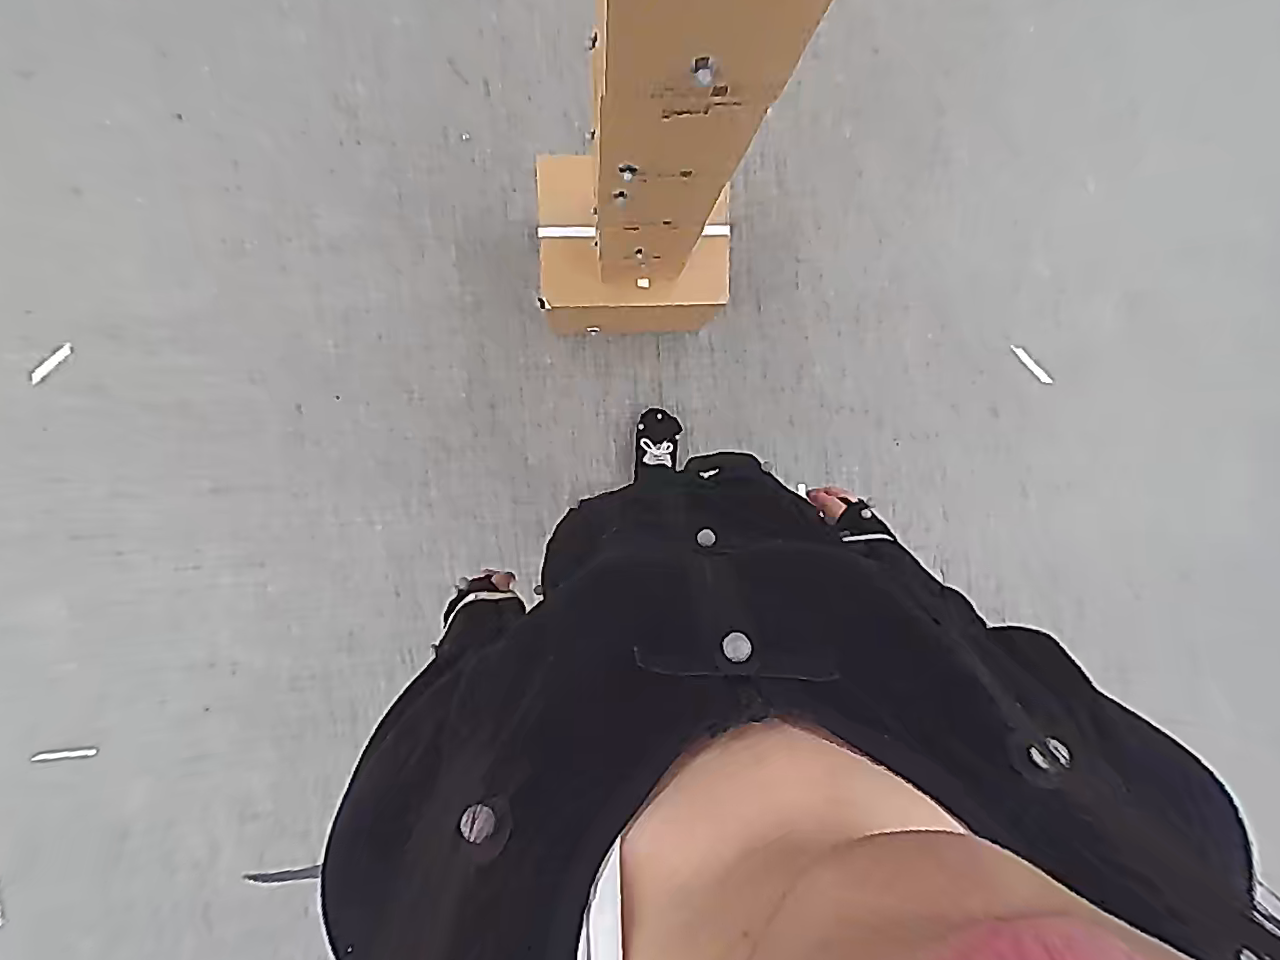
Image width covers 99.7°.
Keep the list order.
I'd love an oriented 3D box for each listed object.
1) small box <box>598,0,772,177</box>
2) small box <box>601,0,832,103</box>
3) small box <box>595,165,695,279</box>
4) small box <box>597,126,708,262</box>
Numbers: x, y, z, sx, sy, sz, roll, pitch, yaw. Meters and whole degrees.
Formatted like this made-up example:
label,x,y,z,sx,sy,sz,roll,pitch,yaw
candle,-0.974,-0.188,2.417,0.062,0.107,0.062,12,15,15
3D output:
label,x,y,z,sx,sy,sz,roll,pitch,yaw
small box,0.039,-0.449,0.578,0.168,0.176,0.179,-2,95,-4
small box,0.052,-0.431,0.415,0.168,0.176,0.179,-4,96,-3
small box,0.005,-0.503,1.065,0.179,0.176,0.168,-5,96,-5
small box,0.014,-0.481,0.904,0.168,0.176,0.179,-4,96,-4
